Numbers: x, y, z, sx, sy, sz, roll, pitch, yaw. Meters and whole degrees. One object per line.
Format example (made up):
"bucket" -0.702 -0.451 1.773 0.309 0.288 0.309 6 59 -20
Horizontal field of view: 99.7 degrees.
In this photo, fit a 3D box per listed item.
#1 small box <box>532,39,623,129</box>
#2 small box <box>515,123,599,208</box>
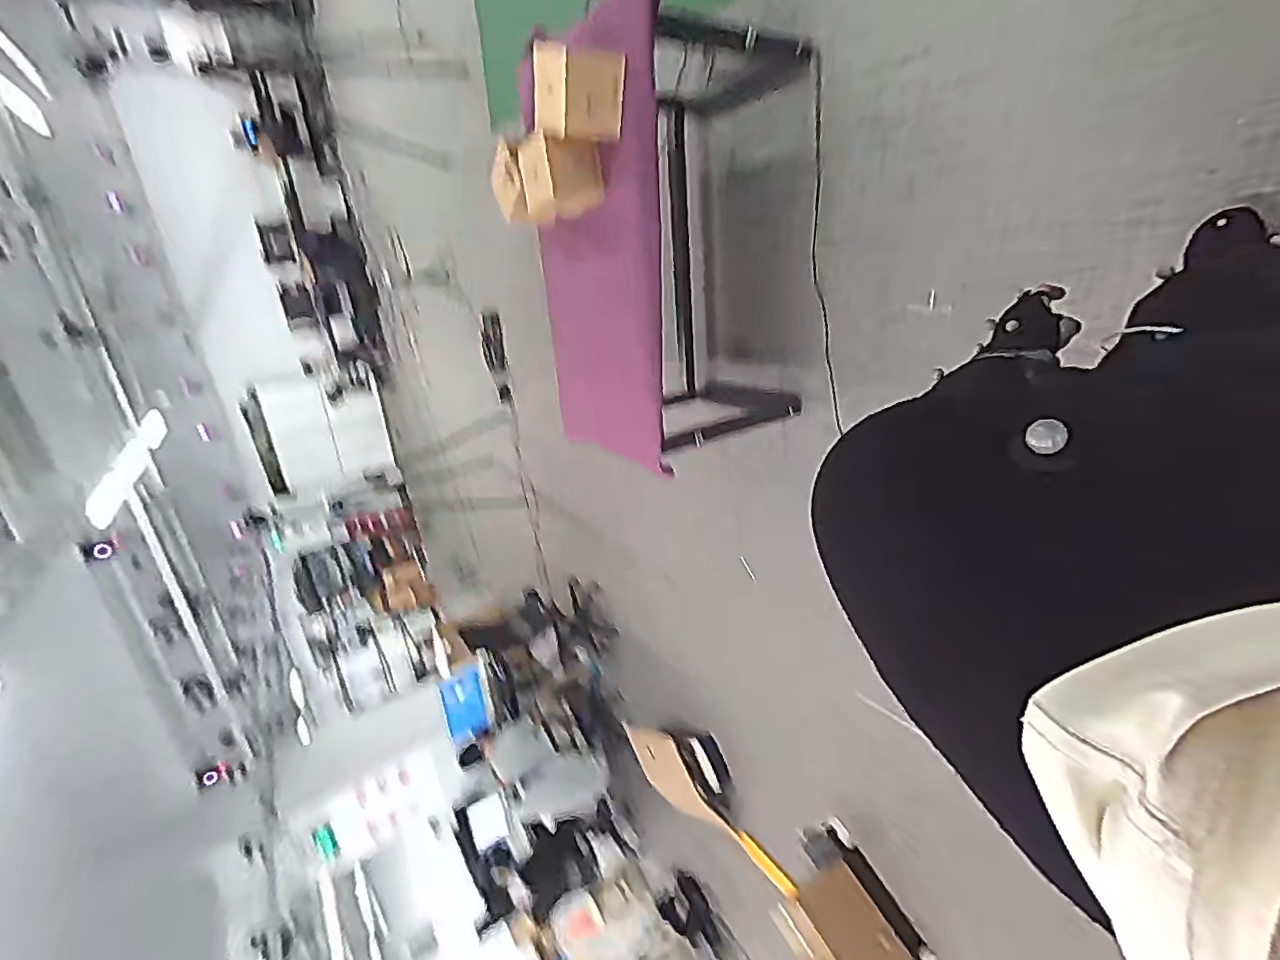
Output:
"small box" -0.156 -0.992 1.357 0.179 0.176 0.168 47 143 39
"small box" -0.226 -0.881 1.525 0.179 0.176 0.168 12 115 55
